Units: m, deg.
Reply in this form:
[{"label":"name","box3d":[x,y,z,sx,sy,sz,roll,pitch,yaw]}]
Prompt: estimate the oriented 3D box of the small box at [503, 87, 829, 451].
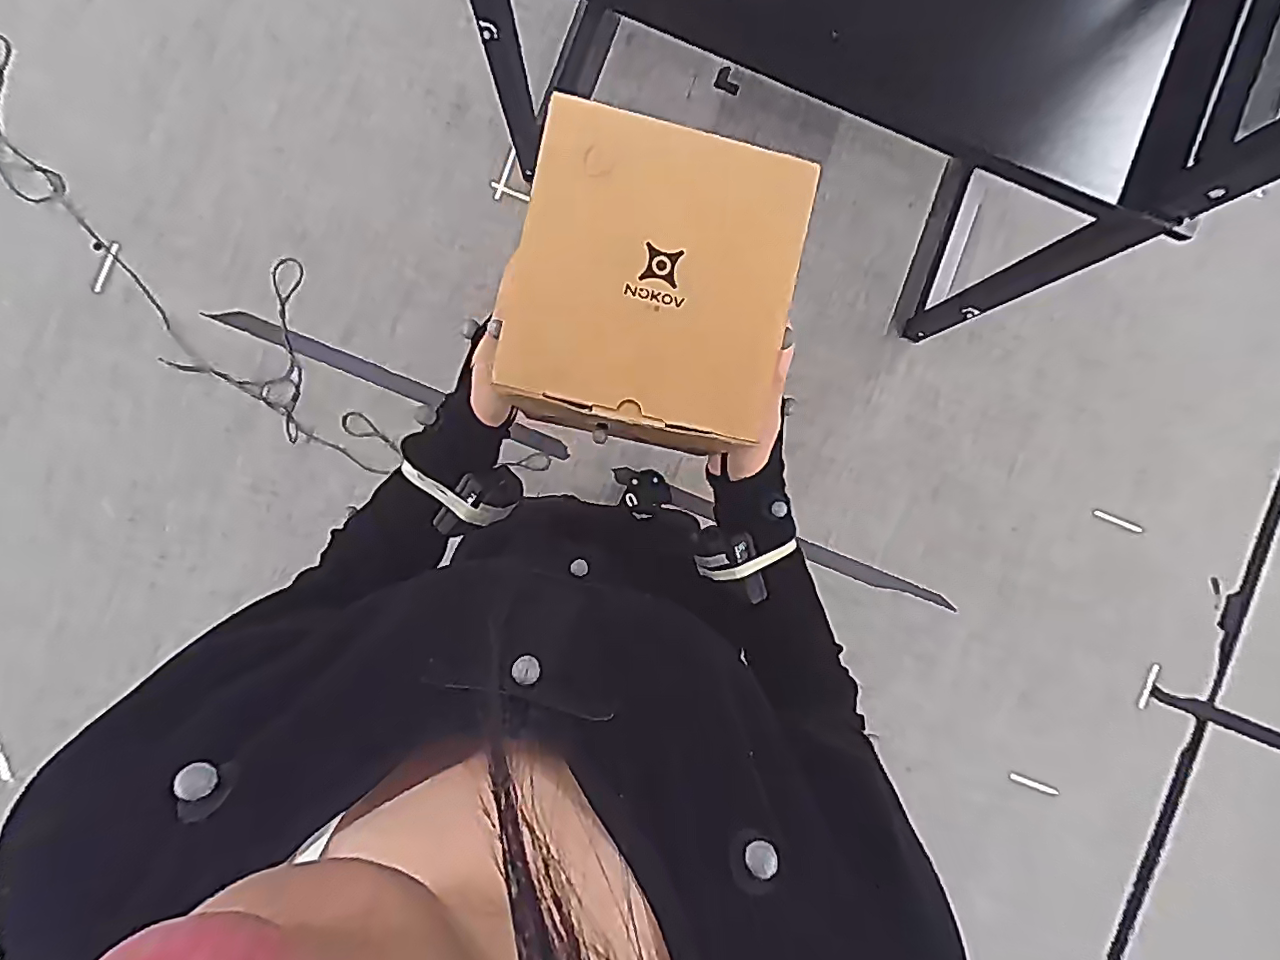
[{"label":"small box","box3d":[0.009,-0.124,0.392,0.168,0.176,0.179,12,91,-5]}]
